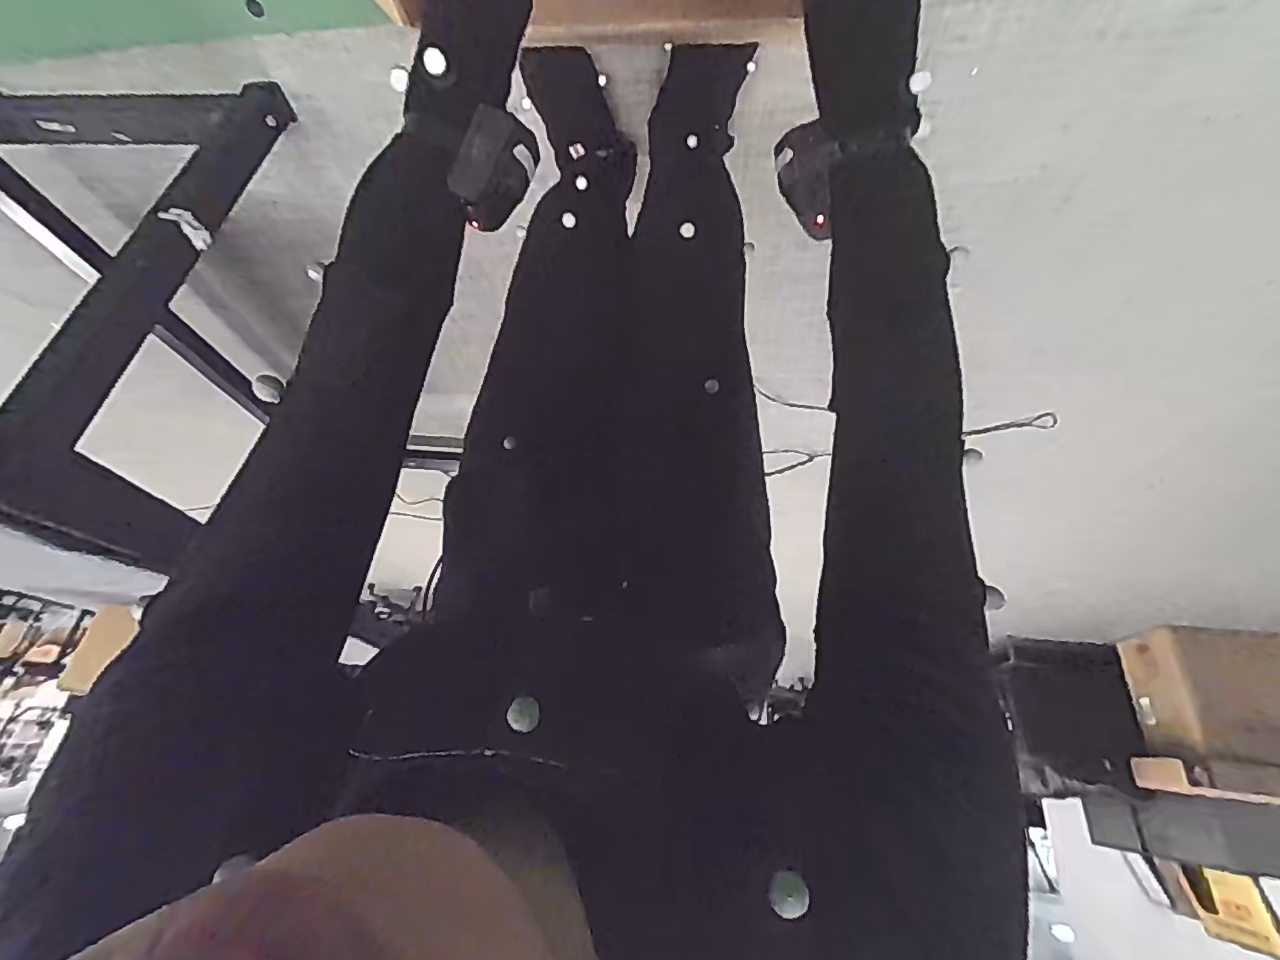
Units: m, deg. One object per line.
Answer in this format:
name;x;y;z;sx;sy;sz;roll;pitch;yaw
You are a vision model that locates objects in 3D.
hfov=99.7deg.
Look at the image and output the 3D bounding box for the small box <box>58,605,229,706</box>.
small box;-0.992;0.360;1.107;0.179;0.176;0.168;6;153;3
